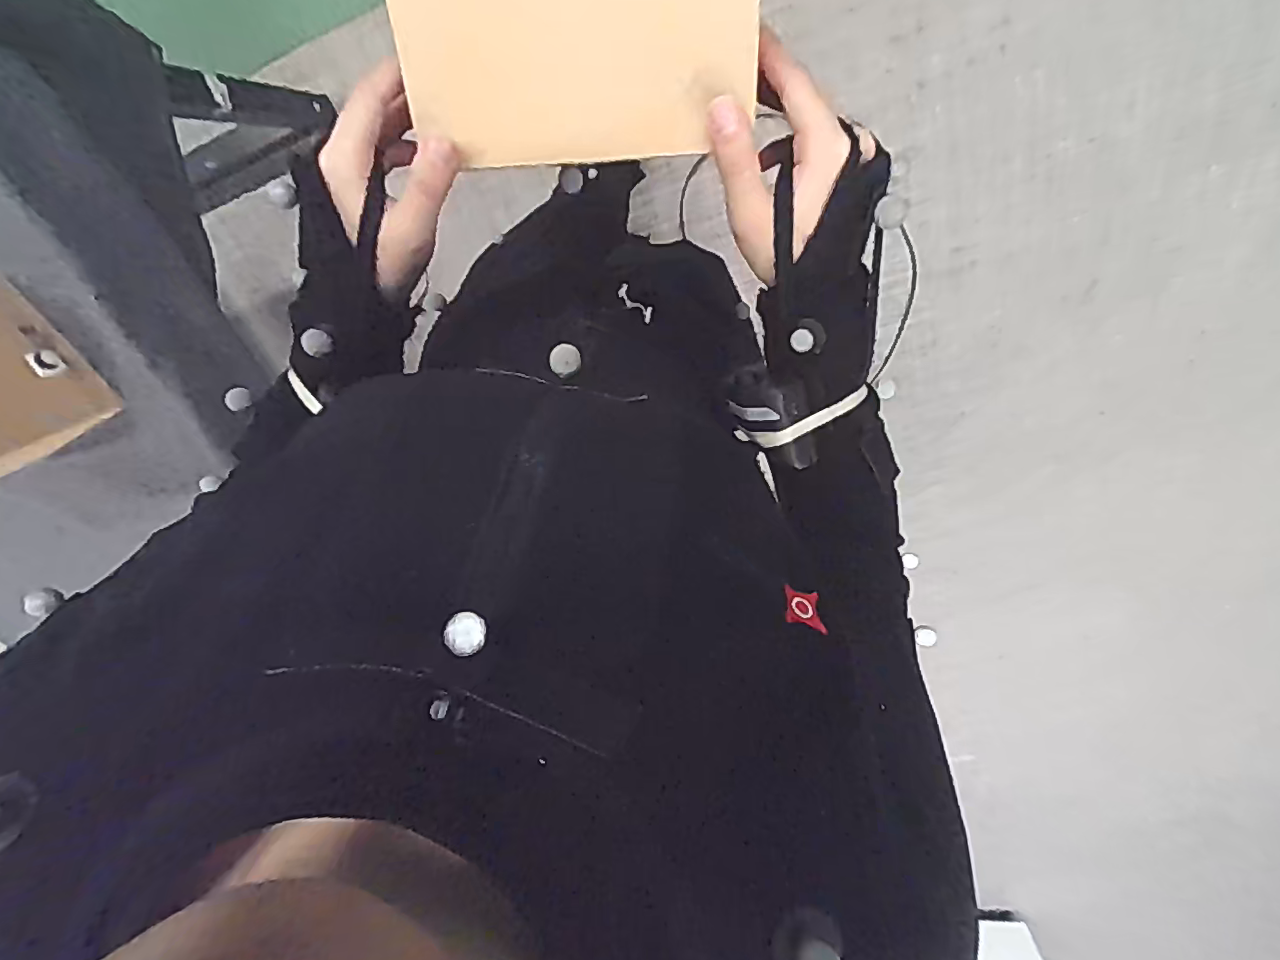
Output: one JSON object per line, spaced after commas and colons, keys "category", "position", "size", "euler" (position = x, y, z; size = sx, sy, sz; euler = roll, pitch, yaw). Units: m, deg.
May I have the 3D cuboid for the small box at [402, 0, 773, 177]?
{"category": "small box", "position": [-0.018, -0.269, 0.290], "size": [0.168, 0.176, 0.179], "euler": [-1, 120, 5]}

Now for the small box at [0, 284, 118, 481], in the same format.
{"category": "small box", "position": [-0.715, -0.077, 0.554], "size": [0.179, 0.176, 0.168], "euler": [-22, 117, 16]}
